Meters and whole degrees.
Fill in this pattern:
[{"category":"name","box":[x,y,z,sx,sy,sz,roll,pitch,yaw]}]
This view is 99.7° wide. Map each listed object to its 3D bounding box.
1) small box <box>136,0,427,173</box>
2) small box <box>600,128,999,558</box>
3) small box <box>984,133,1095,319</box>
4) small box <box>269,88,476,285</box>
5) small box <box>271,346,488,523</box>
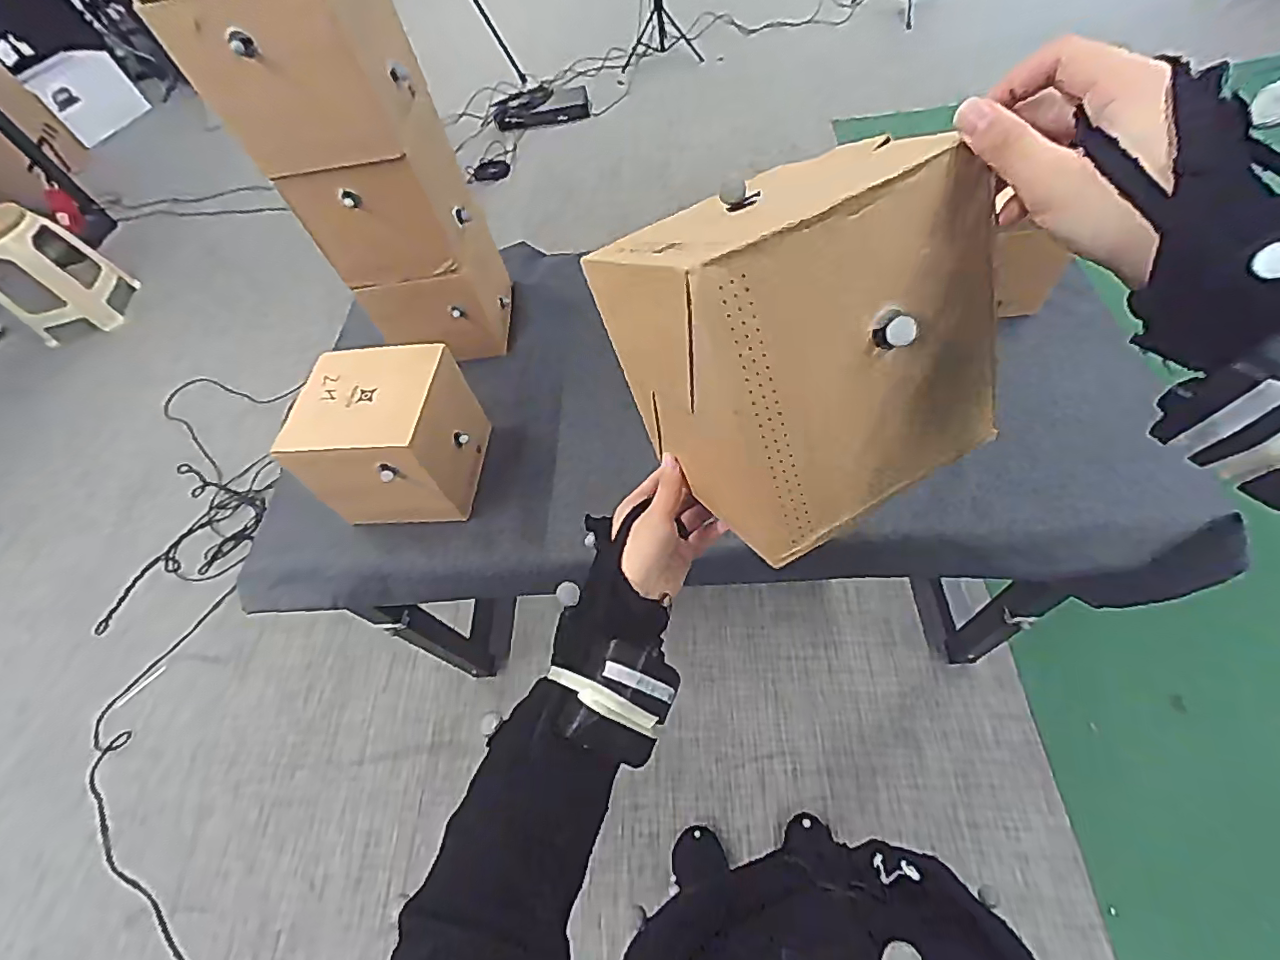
[{"category":"small box","box":[-0.365,-0.465,0.591,0.179,0.176,0.168,-5,60,5]},{"category":"small box","box":[0.089,-0.084,0.346,0.176,0.179,0.168,-28,29,-8]},{"category":"small box","box":[0.474,-0.348,0.761,0.168,0.176,0.179,-2,60,9]},{"category":"small box","box":[-0.346,-0.389,0.736,0.179,0.176,0.168,-7,60,4]},{"category":"small box","box":[-0.321,-0.053,0.713,0.179,0.176,0.168,-2,56,8]}]
